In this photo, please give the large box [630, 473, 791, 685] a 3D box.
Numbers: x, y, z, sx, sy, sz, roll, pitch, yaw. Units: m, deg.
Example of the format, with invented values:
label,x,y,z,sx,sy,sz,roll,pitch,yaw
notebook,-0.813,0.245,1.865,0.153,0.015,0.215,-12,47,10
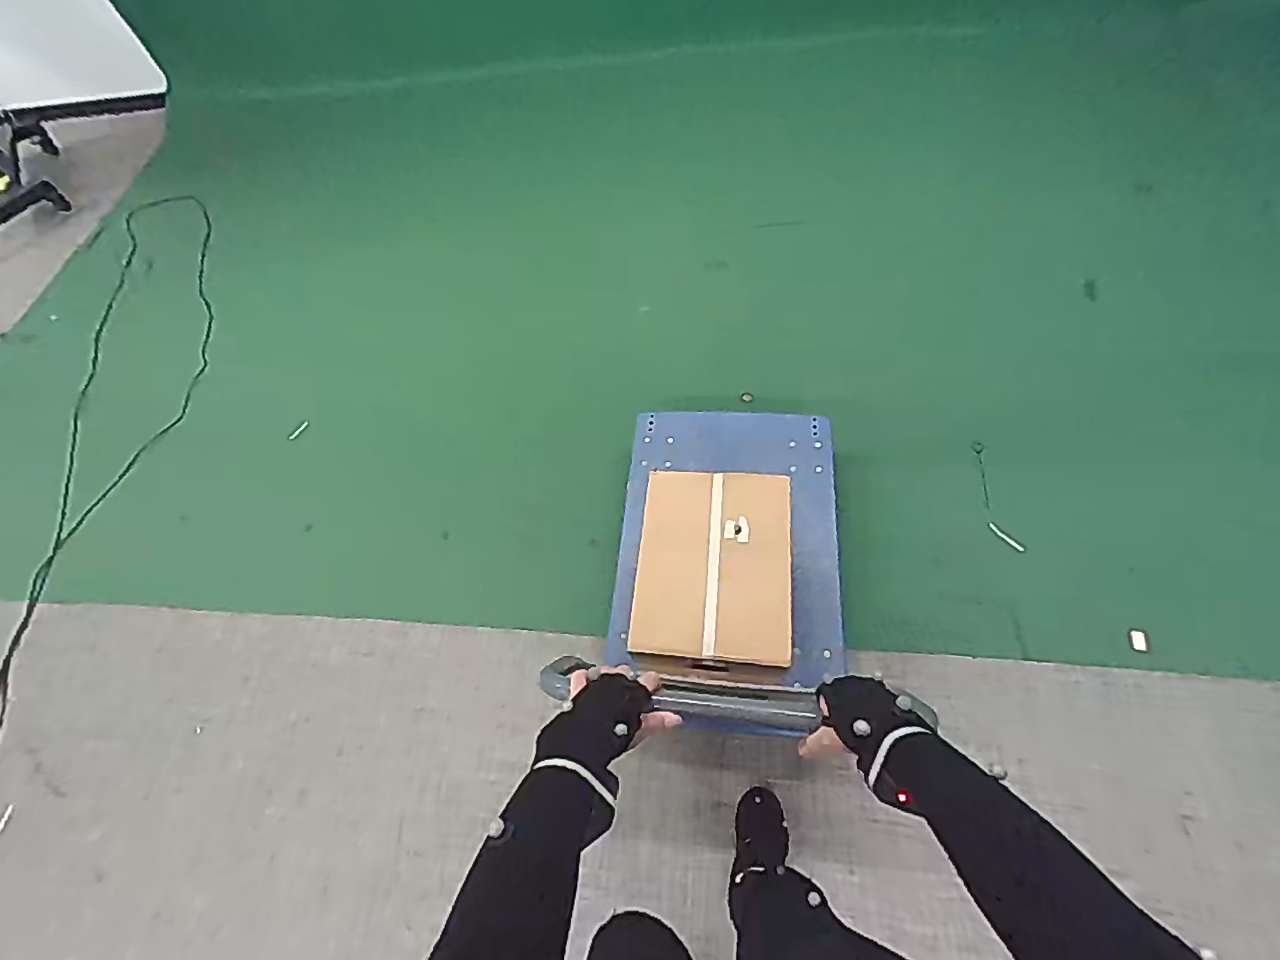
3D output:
label,x,y,z,sx,sy,sz,roll,pitch,yaw
large box,0.168,0.234,1.251,0.320,0.320,0.408,2,62,9
